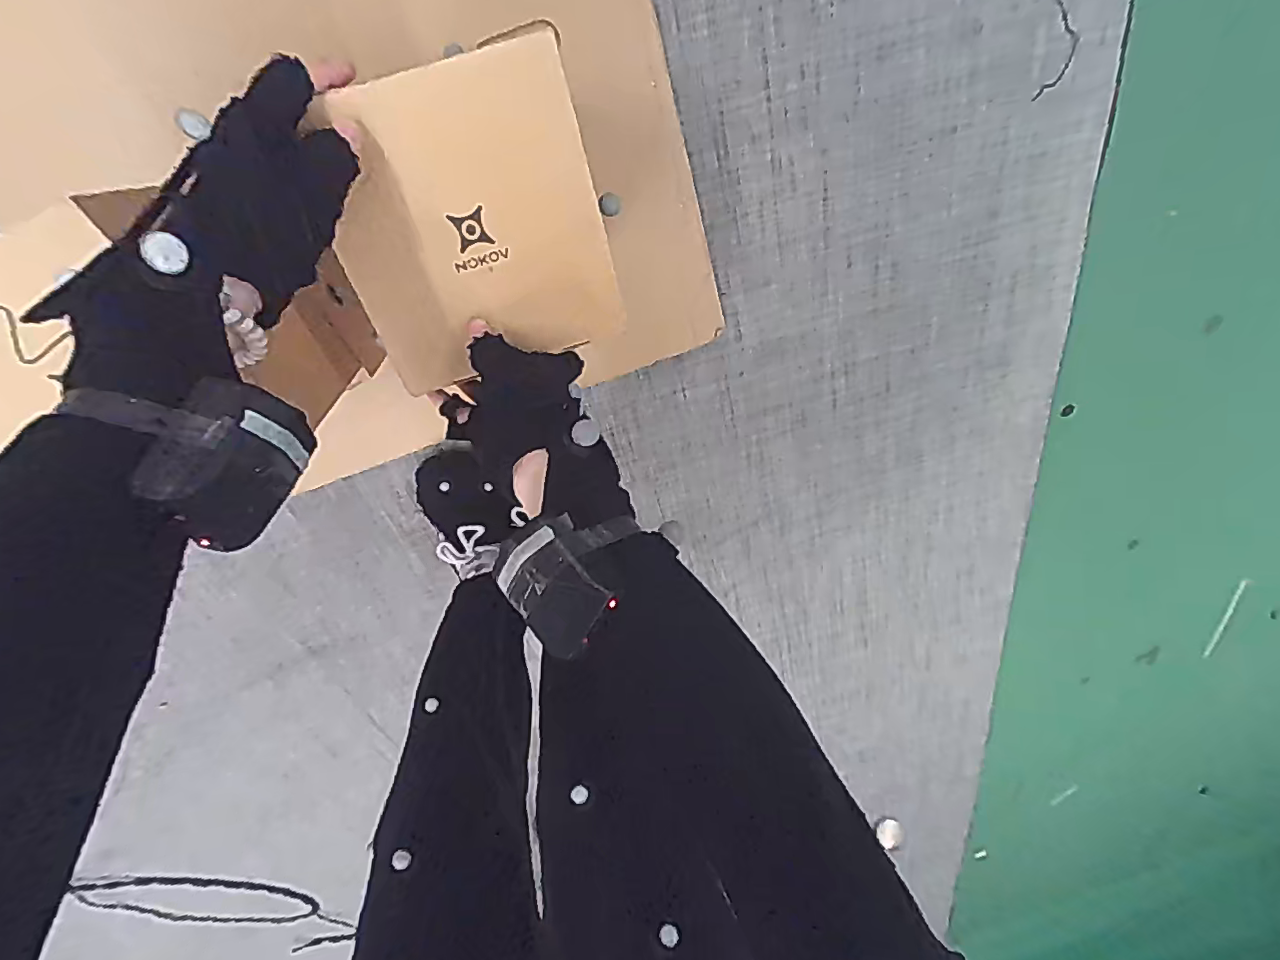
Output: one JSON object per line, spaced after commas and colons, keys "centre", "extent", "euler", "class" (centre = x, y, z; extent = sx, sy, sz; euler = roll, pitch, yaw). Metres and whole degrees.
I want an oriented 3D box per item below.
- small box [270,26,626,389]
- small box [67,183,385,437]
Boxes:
{"centre": [-0.121, -0.198, 0.407], "extent": [0.168, 0.176, 0.179], "euler": [-17, 124, -1], "class": "small box"}
{"centre": [-0.381, -0.179, 0.552], "extent": [0.168, 0.176, 0.179], "euler": [-24, 123, 3], "class": "small box"}
